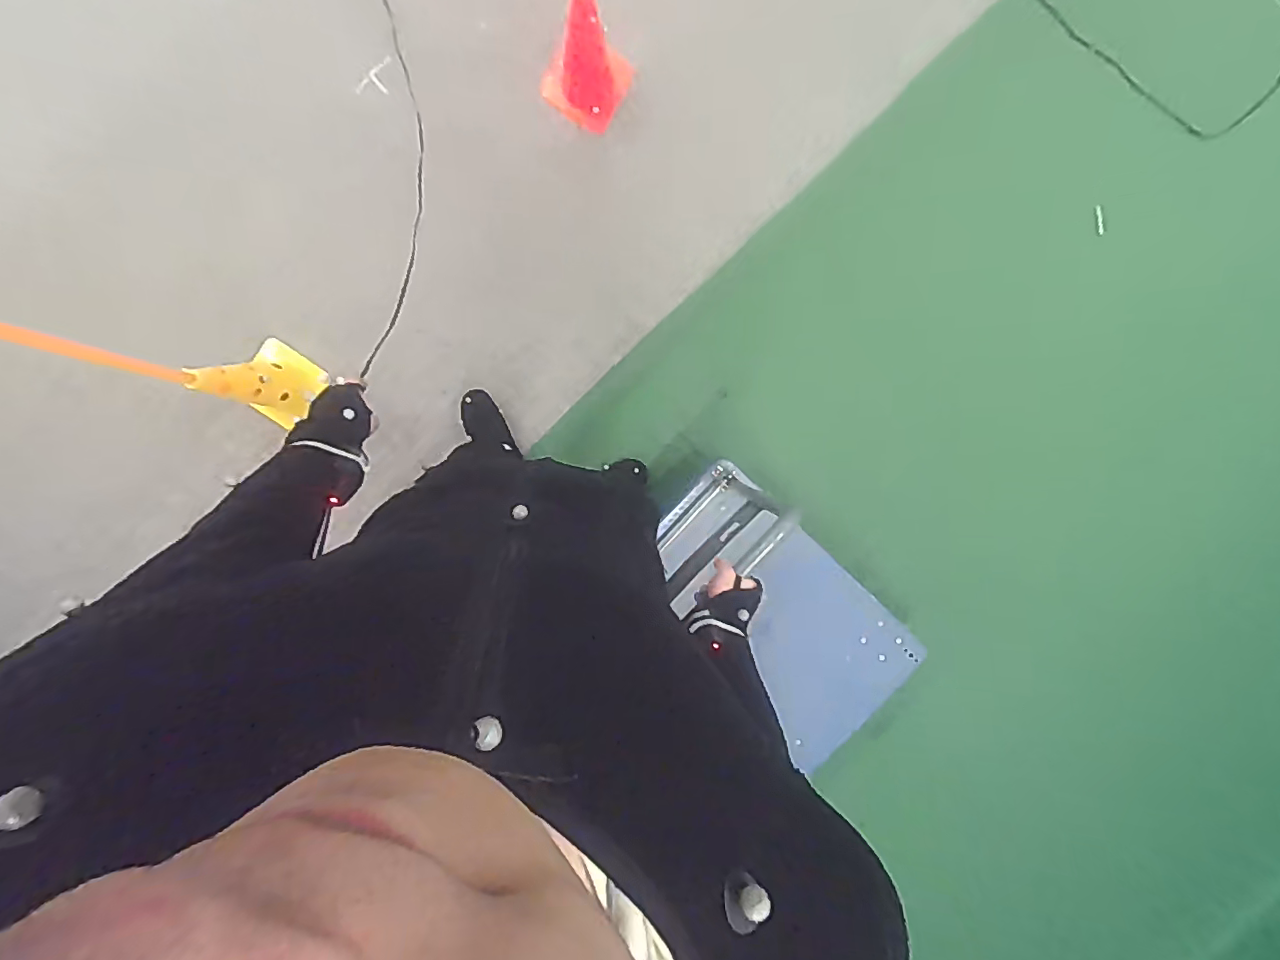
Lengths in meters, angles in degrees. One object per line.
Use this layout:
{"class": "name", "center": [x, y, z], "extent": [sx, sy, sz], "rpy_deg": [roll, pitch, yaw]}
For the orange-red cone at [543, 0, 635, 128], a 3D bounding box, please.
{"class": "orange-red cone", "center": [-0.122, -1.062, 1.288], "extent": [0.198, 0.360, 0.199], "rpy_deg": [32, 94, -8]}
